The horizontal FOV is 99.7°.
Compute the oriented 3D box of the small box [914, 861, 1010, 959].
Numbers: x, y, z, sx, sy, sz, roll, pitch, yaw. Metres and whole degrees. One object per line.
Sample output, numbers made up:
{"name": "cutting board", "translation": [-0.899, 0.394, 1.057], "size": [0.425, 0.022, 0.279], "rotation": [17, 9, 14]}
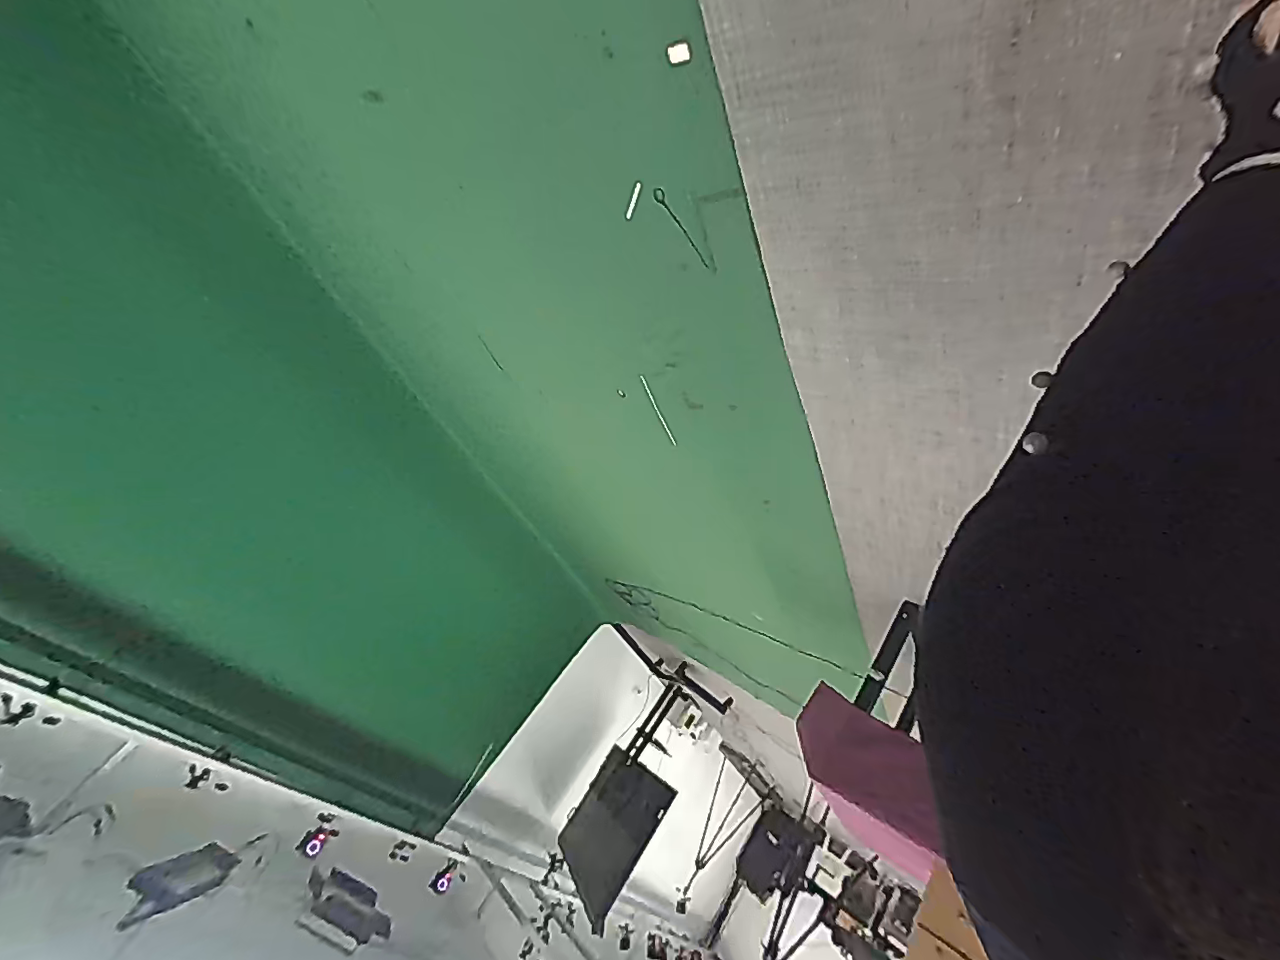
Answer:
{"name": "small box", "translation": [0.866, 1.165, 1.455], "size": [0.179, 0.176, 0.168], "rotation": [16, 148, 42]}
